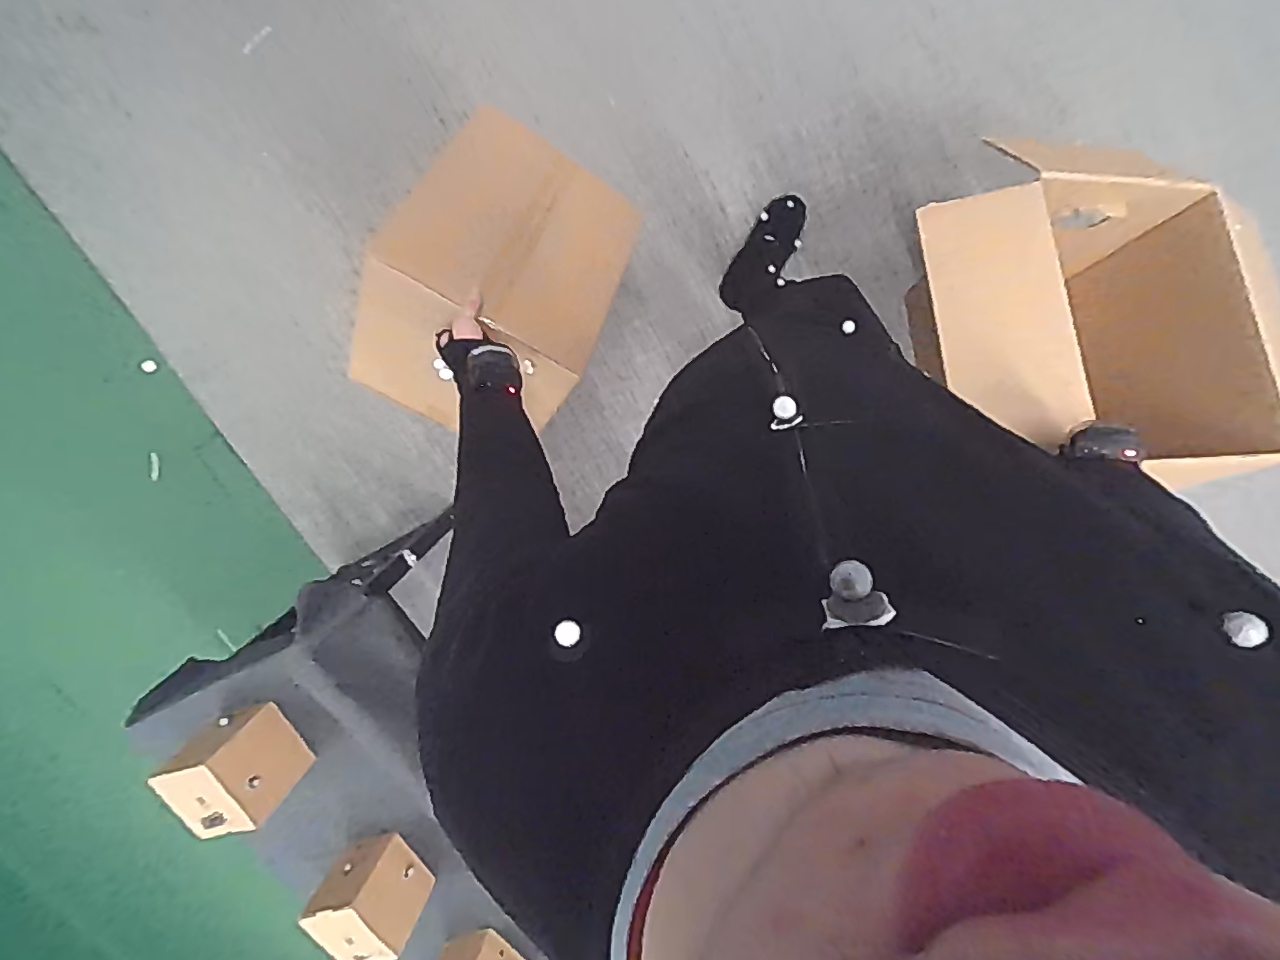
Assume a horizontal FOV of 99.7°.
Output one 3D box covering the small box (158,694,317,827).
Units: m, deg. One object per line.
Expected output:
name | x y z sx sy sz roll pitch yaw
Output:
small box | -0.835 0.589 1.143 0.168 0.176 0.179 -19 107 16

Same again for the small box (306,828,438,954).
small box | -0.611 0.941 1.253 0.168 0.176 0.179 -23 106 18

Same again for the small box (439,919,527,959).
small box | -0.403 1.235 1.338 0.179 0.176 0.168 -33 101 23
